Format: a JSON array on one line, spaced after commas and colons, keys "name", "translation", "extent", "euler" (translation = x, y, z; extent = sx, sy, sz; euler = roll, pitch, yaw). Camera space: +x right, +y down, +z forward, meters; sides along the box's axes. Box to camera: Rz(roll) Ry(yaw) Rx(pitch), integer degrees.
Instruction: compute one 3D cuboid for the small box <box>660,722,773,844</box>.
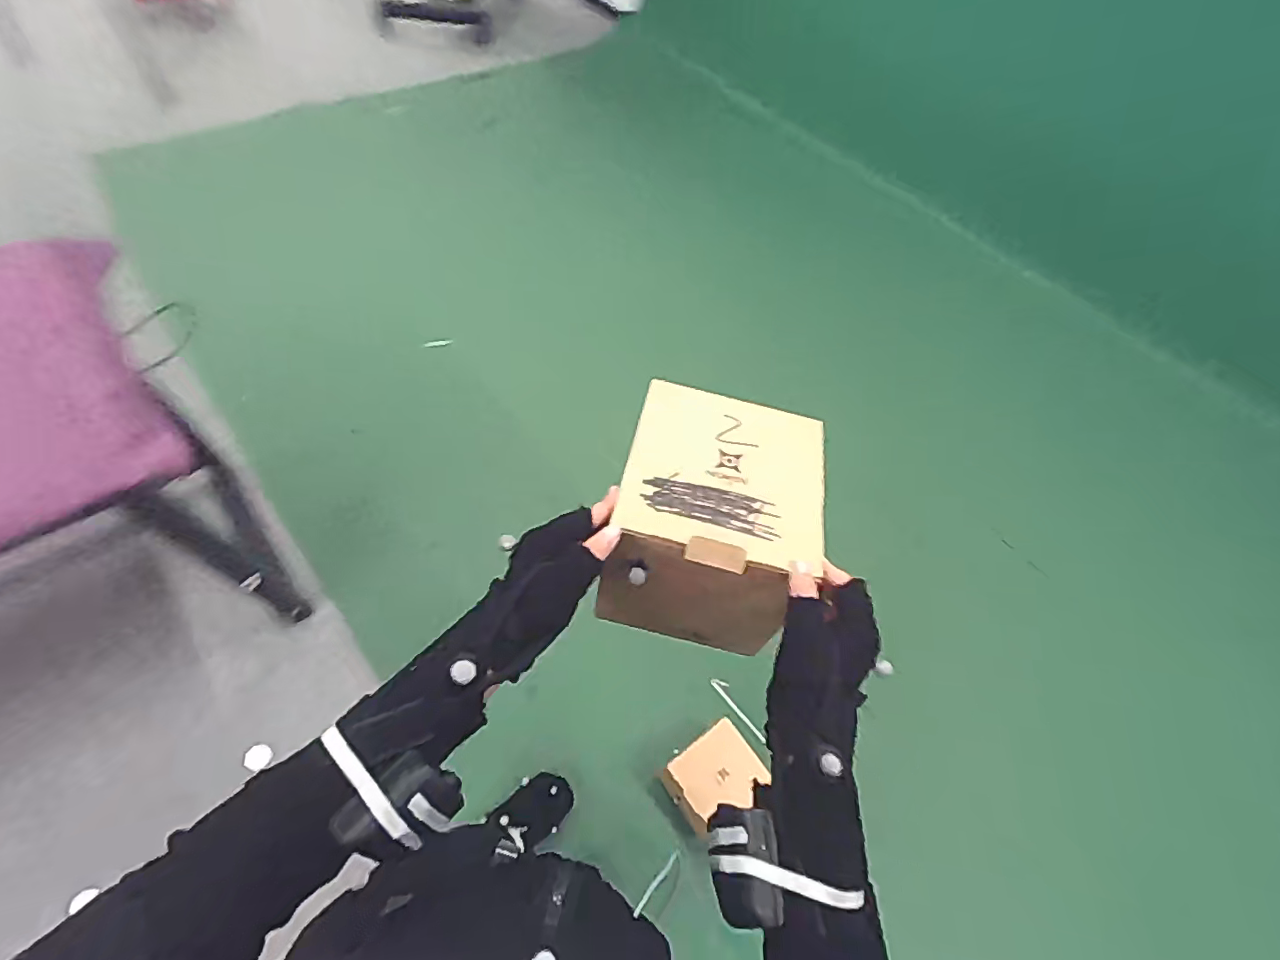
[{"name": "small box", "translation": [0.163, 0.680, 1.219], "extent": [0.179, 0.176, 0.168], "euler": [-30, 66, -22]}]
